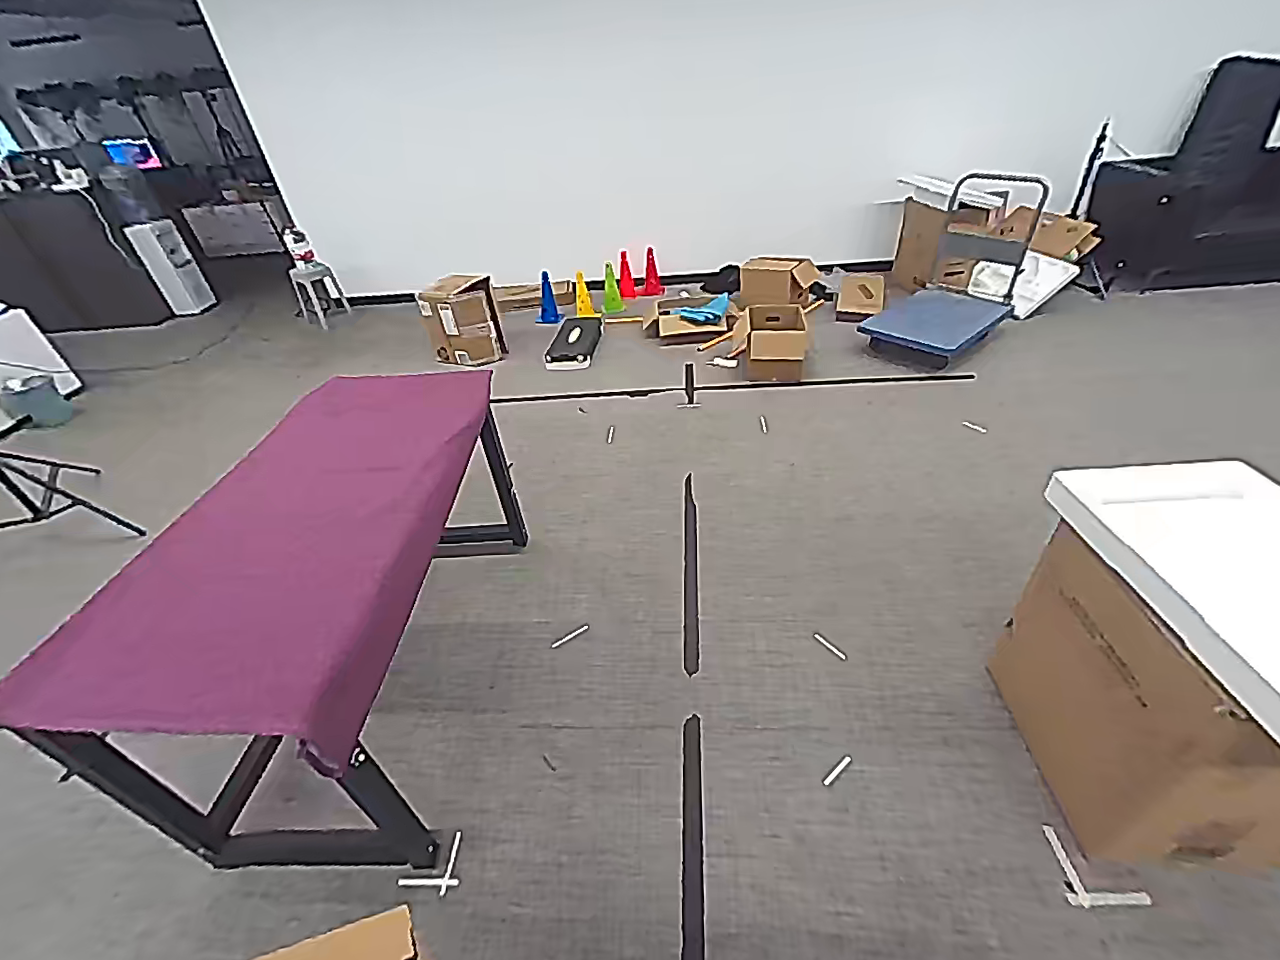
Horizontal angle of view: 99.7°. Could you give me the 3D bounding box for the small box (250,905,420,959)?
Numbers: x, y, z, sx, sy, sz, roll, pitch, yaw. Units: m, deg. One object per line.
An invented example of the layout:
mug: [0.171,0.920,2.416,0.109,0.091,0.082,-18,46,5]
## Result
small box: [-0.336,0.616,0.570,0.179,0.176,0.168,10,19,-39]
